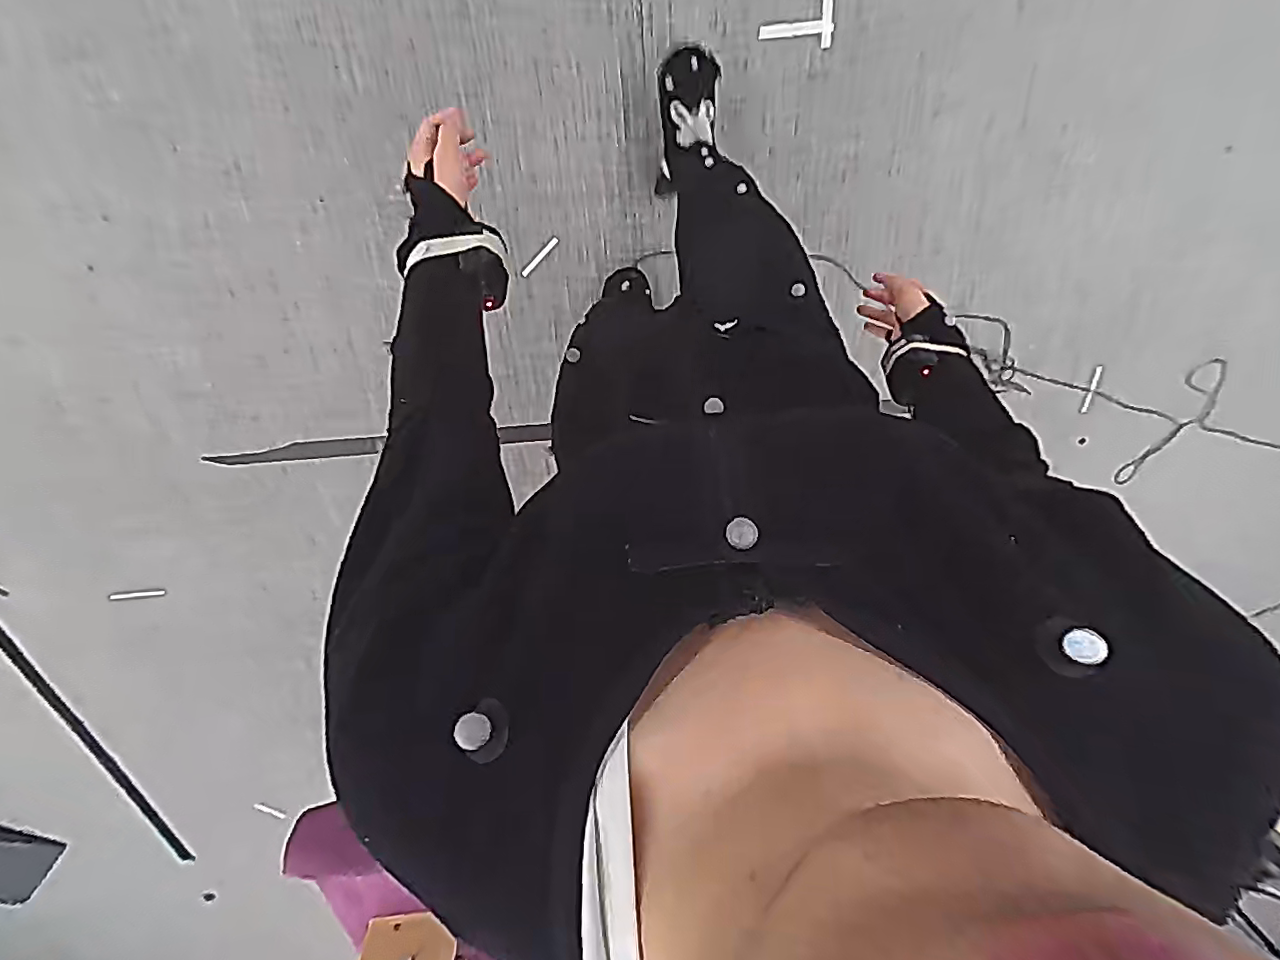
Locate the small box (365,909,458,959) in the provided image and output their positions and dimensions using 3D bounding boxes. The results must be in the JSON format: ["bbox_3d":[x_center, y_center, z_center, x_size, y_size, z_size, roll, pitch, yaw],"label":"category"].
[{"bbox_3d":[-0.503,1.074,1.183,0.168,0.176,0.179,-1,119,-7],"label":"small box"}]
